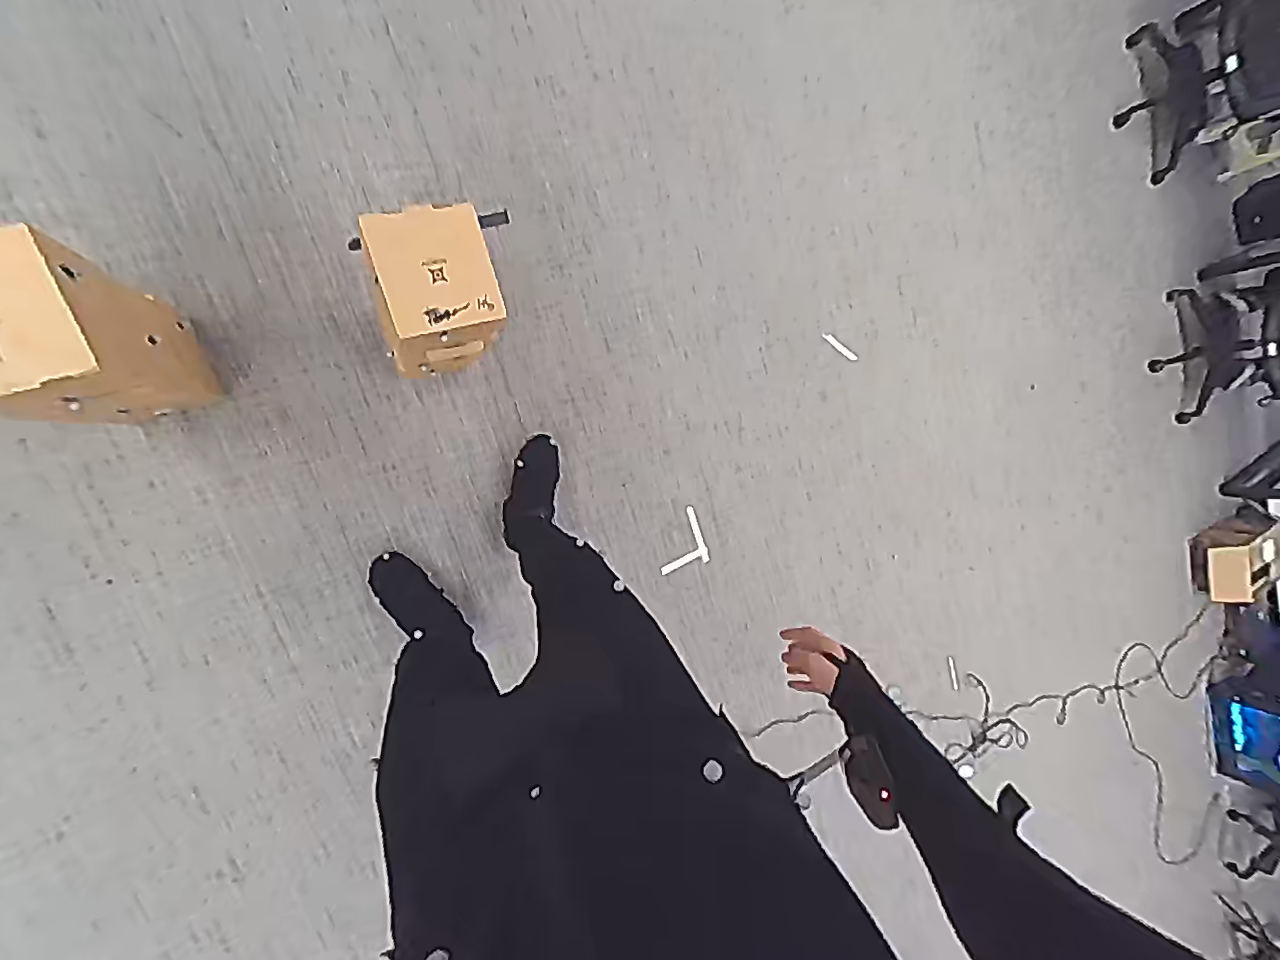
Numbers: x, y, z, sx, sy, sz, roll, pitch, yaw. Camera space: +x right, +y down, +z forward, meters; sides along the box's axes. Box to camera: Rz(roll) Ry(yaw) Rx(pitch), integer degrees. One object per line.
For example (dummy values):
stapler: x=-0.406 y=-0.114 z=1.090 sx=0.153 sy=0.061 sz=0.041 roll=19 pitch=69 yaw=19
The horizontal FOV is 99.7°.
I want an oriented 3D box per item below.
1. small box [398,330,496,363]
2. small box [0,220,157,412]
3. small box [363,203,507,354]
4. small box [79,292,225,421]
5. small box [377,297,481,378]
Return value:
small box: x=-0.390 y=-0.328 z=1.030 sx=0.168 sy=0.176 sz=0.179 roll=-19 pitch=100 yaw=-23
small box: x=-0.772 y=-0.195 z=0.682 sx=0.168 sy=0.176 sz=0.179 roll=-23 pitch=102 yaw=-20
small box: x=-0.334 y=-0.318 z=0.874 sx=0.168 sy=0.176 sz=0.179 roll=-19 pitch=100 yaw=-23
small box: x=-0.903 y=-0.216 z=0.981 sx=0.168 sy=0.176 sz=0.179 roll=-23 pitch=101 yaw=-21
small box: x=-0.463 y=-0.331 z=1.176 sx=0.168 sy=0.176 sz=0.179 roll=-19 pitch=100 yaw=-23
